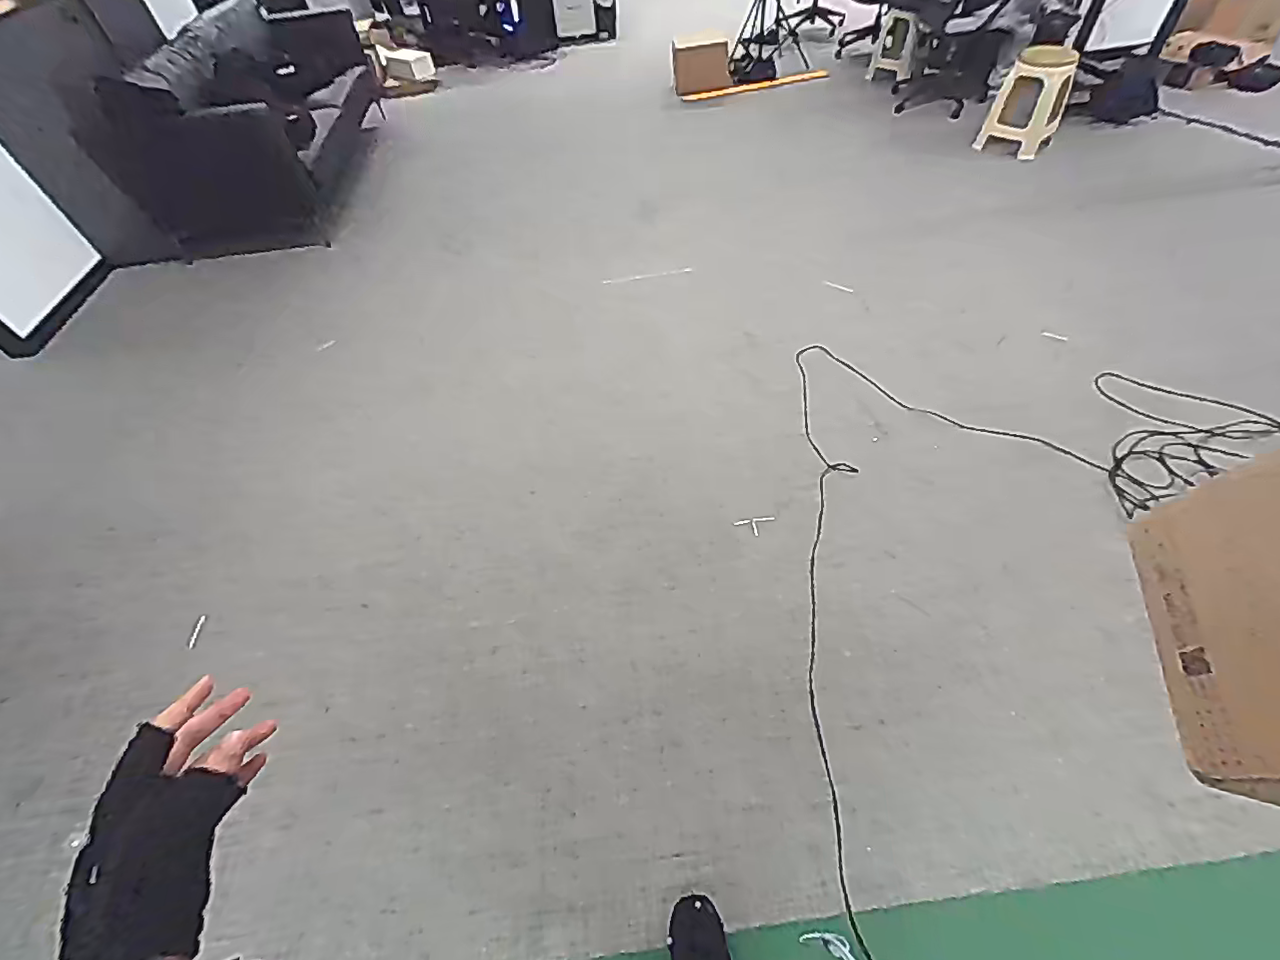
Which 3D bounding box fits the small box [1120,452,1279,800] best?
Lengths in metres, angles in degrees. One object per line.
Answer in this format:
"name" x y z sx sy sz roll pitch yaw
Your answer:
"small box" 0.399 0.073 0.260 0.179 0.176 0.168 15 59 1
